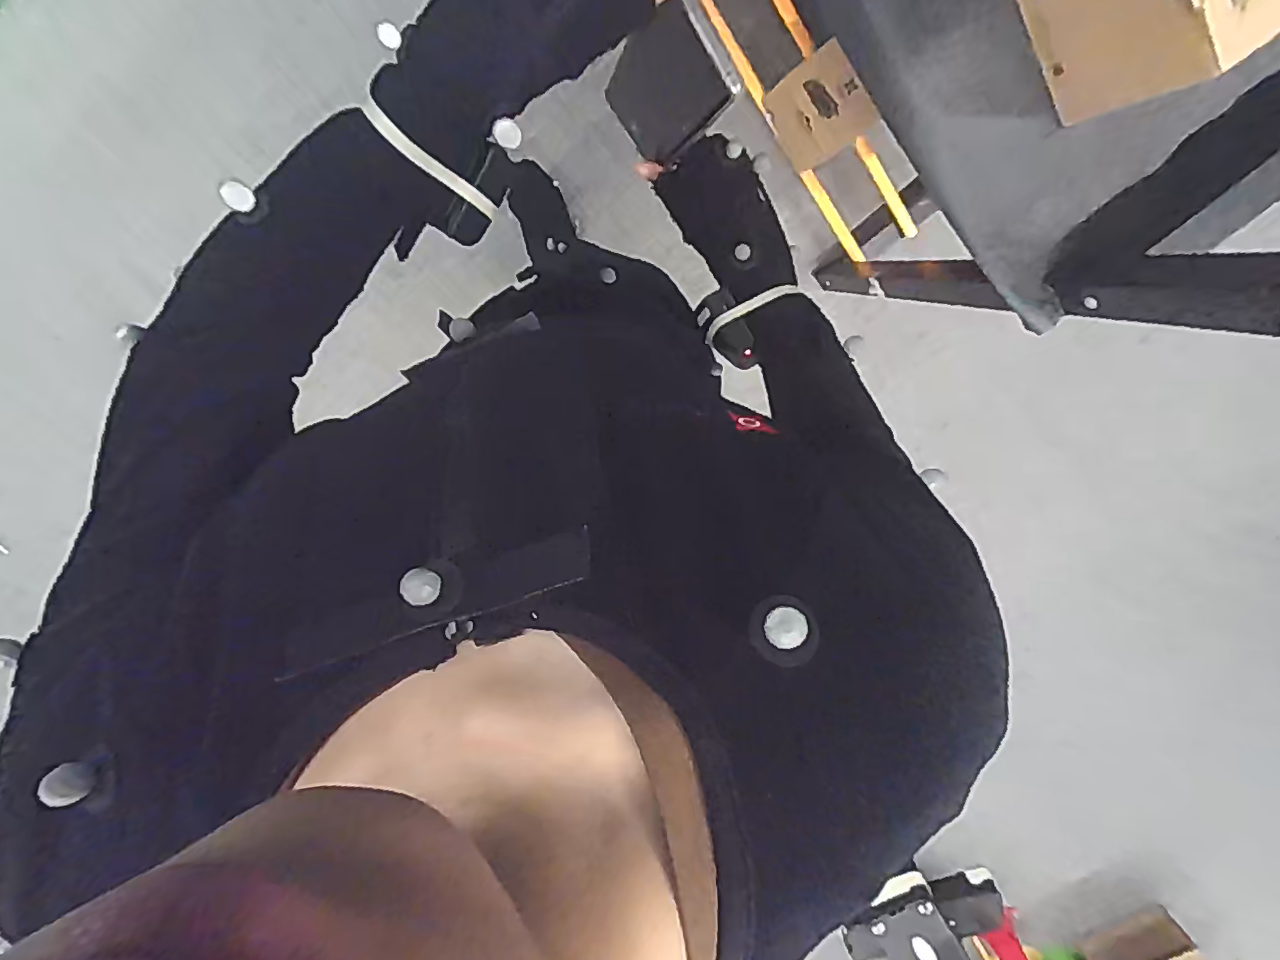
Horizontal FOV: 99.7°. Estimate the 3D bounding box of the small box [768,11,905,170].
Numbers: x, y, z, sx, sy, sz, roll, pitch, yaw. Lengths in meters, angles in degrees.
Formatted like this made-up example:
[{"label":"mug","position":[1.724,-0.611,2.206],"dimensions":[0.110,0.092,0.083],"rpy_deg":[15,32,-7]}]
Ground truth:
[{"label":"small box","position":[0.371,-0.743,1.058],"dimensions":[0.179,0.176,0.168],"rpy_deg":[-35,110,10]}]
